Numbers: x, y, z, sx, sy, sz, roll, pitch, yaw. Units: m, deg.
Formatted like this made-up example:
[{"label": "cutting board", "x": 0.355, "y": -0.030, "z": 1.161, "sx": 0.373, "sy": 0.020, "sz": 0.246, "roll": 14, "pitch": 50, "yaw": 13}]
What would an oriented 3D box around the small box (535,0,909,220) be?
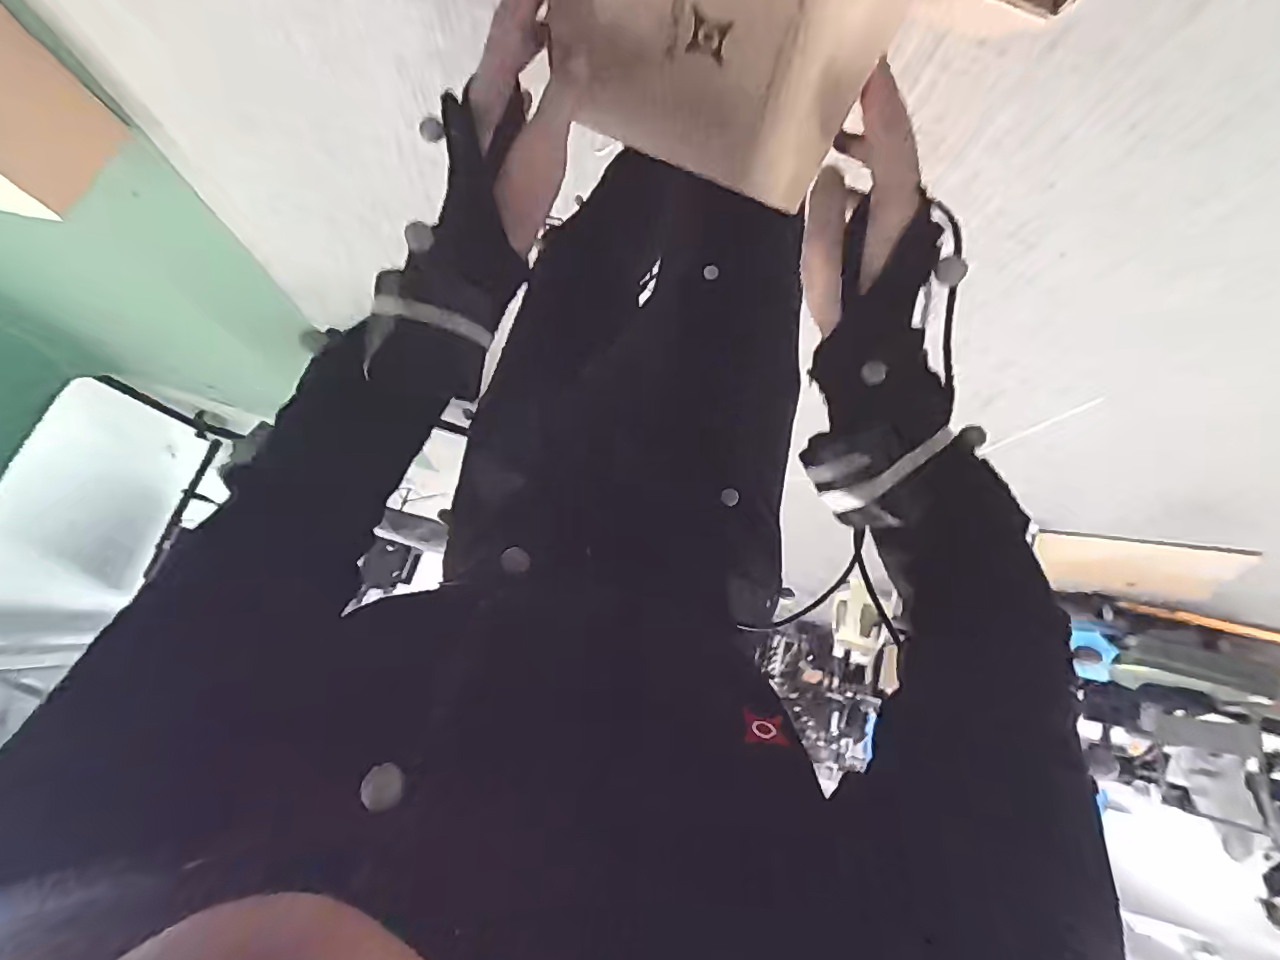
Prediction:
[{"label": "small box", "x": 0.054, "y": -0.292, "z": 0.295, "sx": 0.179, "sy": 0.176, "sz": 0.168, "roll": 21, "pitch": 165, "yaw": -1}]
